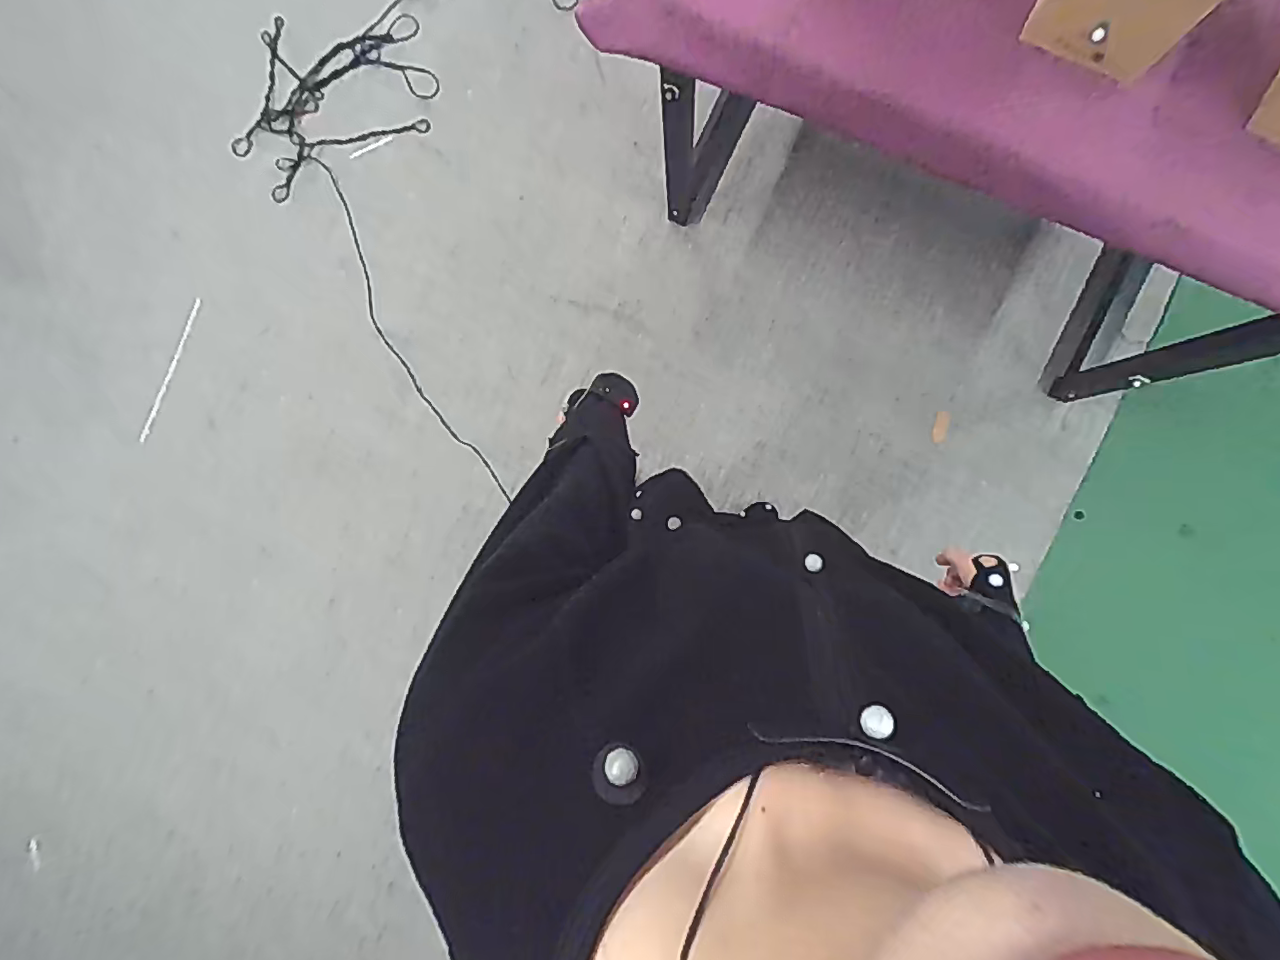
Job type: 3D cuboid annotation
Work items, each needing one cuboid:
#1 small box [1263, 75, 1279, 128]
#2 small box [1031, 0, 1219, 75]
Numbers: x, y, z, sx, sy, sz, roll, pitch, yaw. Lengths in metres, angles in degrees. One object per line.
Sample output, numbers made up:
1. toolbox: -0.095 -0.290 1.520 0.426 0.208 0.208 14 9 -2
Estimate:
1. small box: 0.923 -0.511 0.635 0.168 0.176 0.179 30 92 5
2. small box: 0.634 -0.661 0.661 0.168 0.176 0.179 28 92 5
